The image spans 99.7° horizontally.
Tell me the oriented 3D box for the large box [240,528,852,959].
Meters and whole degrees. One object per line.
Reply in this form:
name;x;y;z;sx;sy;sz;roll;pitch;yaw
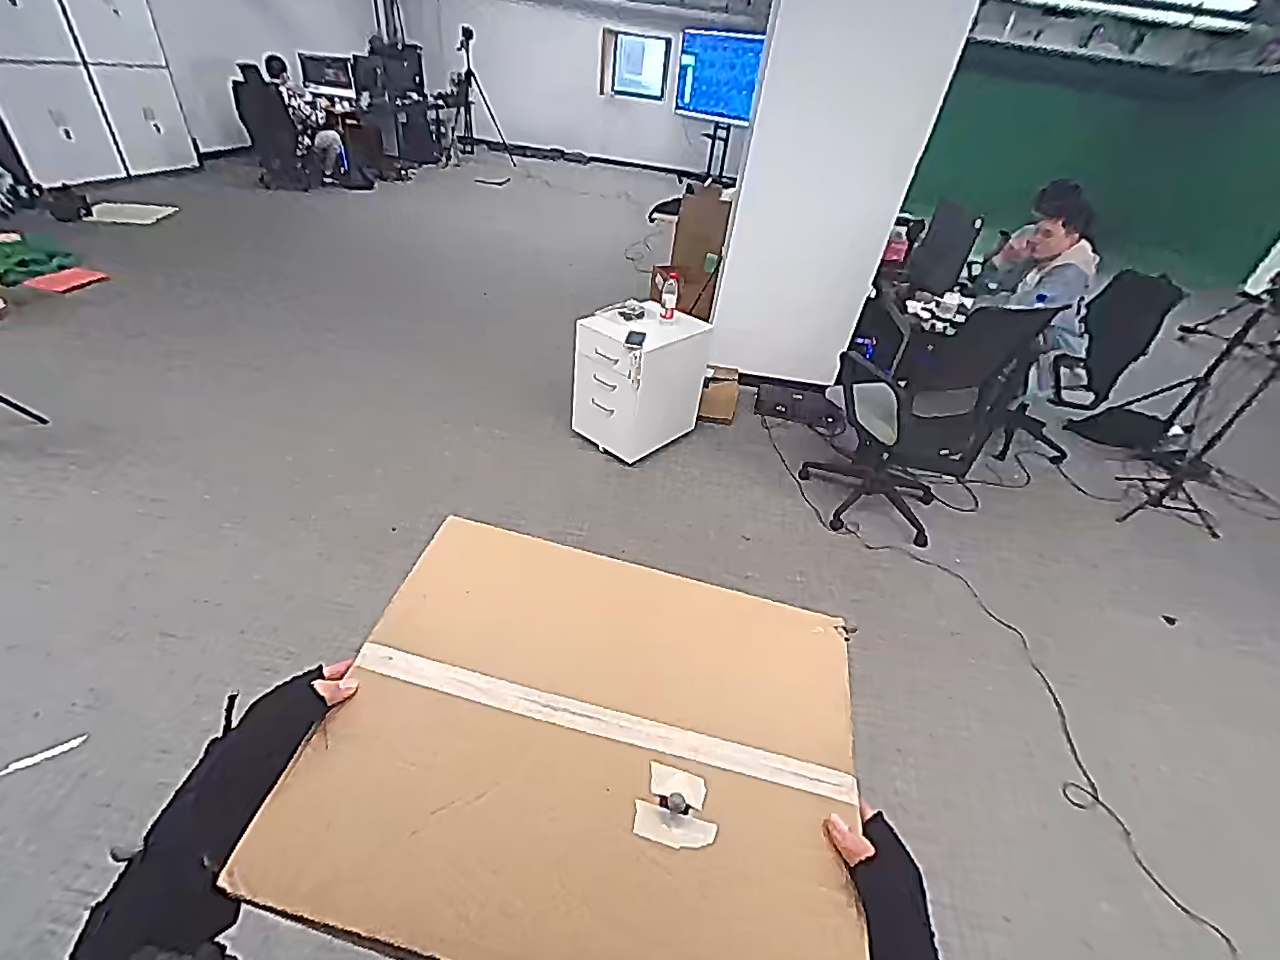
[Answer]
large box;-0.055;0.300;0.540;0.408;0.320;0.320;15;46;2
